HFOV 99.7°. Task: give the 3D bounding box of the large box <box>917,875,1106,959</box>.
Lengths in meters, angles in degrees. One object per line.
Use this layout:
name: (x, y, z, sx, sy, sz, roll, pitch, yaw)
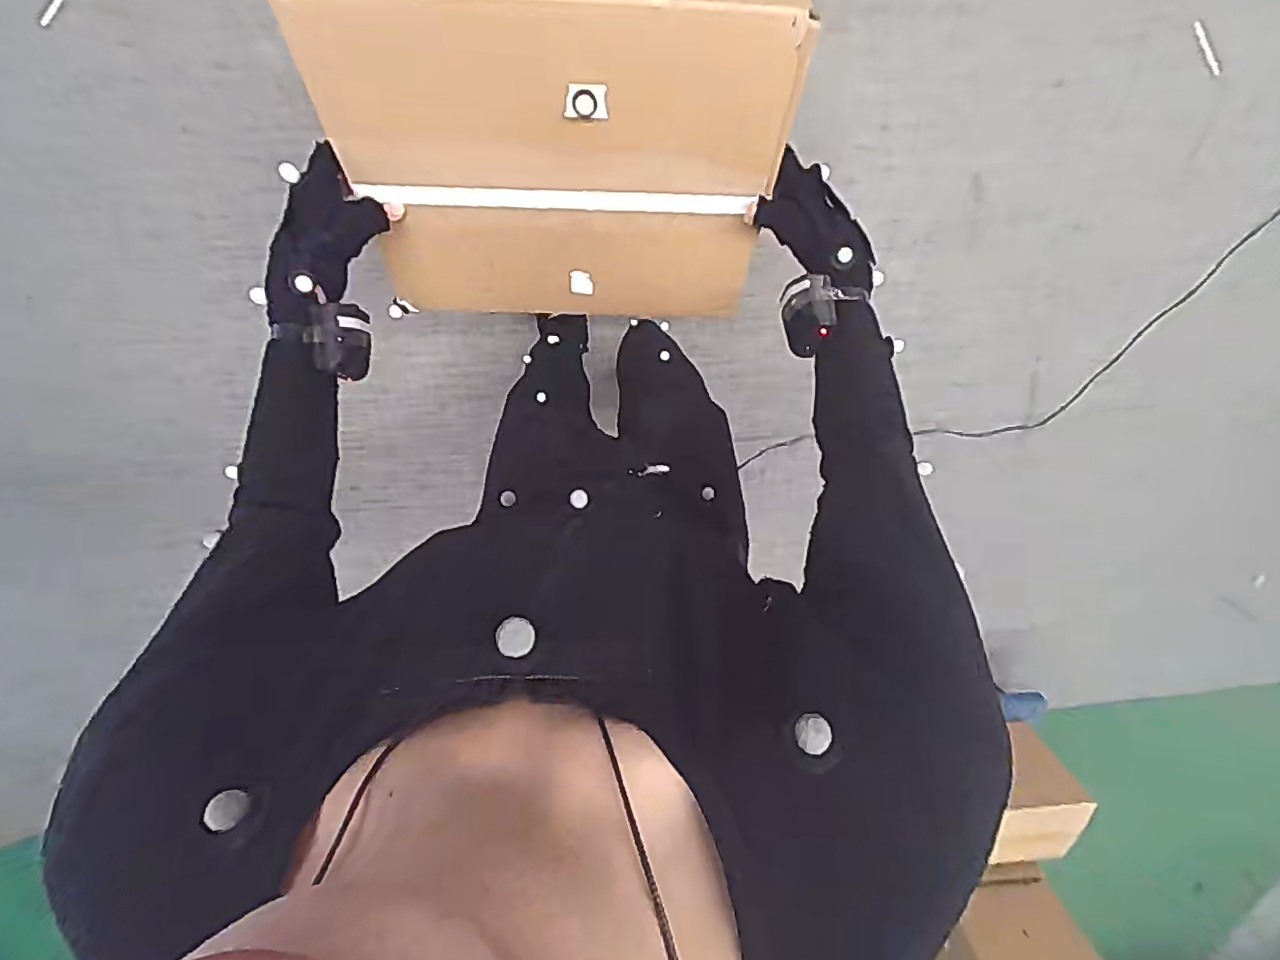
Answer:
large box: (1.214, 1.564, 1.778, 0.408, 0.320, 0.320, 0, 119, -8)
